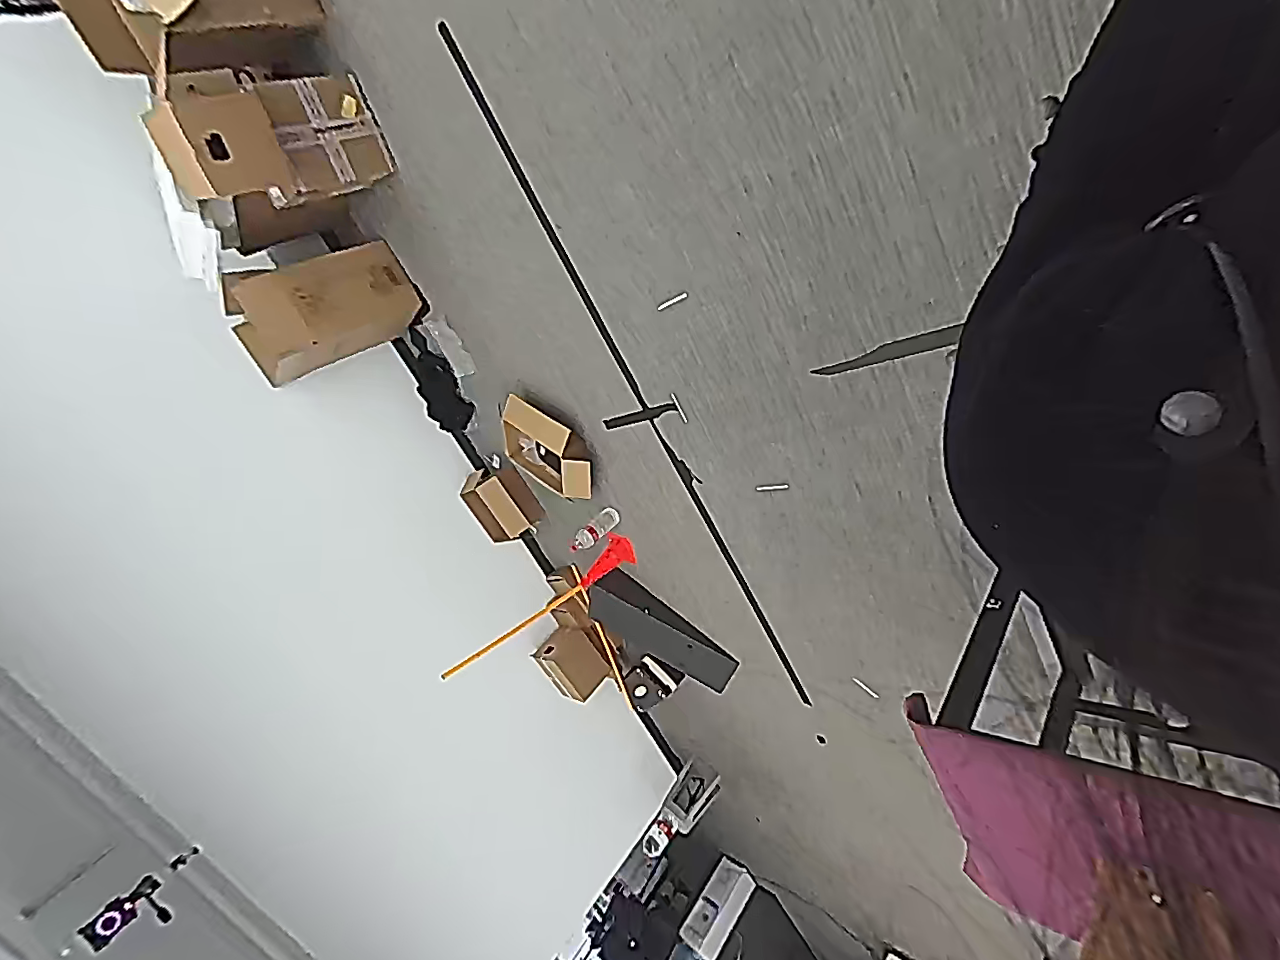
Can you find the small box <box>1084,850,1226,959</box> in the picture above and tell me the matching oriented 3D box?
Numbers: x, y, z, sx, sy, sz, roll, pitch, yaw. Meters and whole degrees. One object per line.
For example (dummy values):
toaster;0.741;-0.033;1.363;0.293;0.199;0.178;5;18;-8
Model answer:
small box;0.908;0.812;0.952;0.168;0.176;0.179;0;123;48
